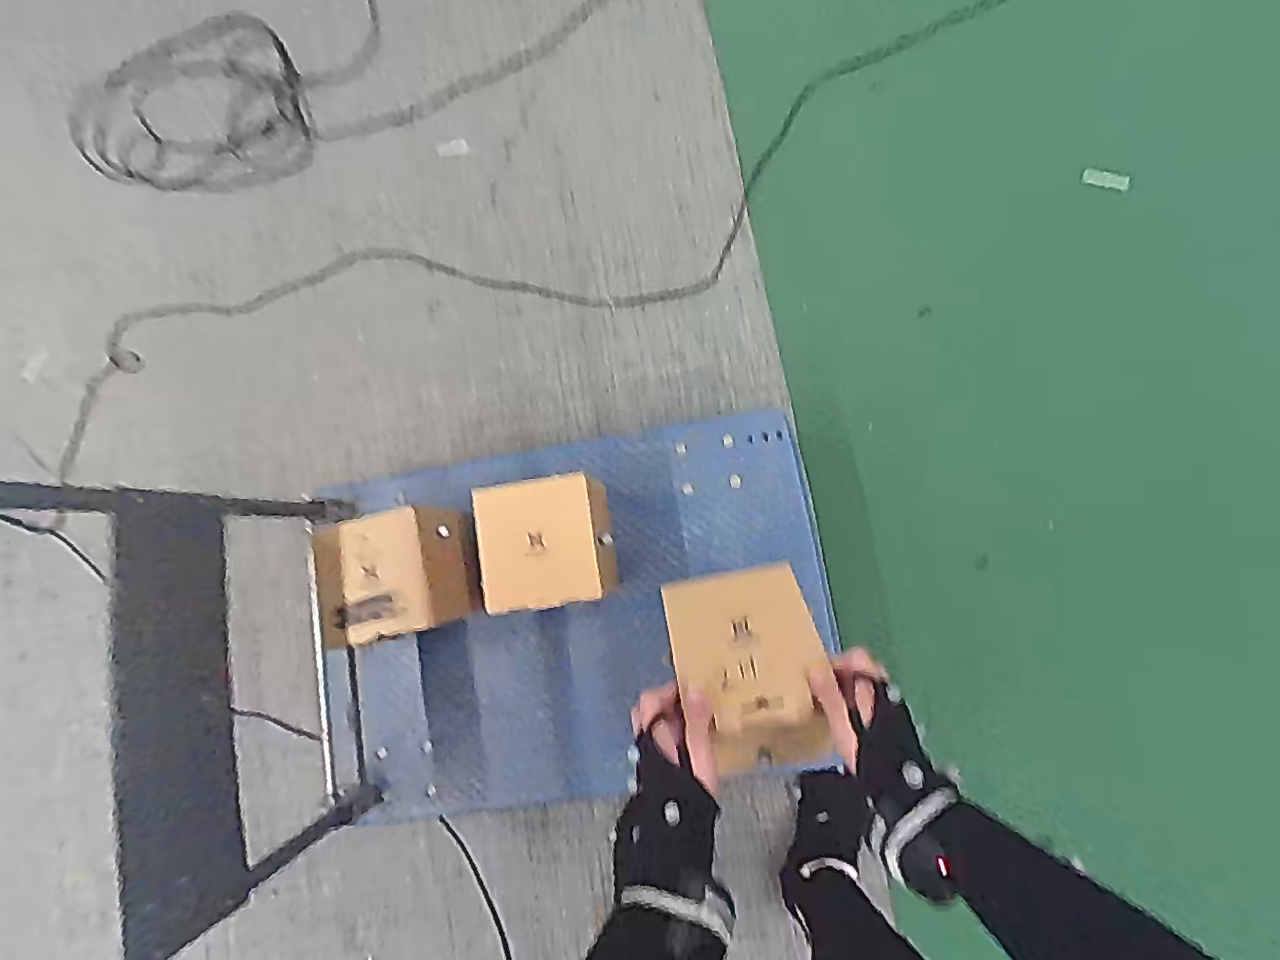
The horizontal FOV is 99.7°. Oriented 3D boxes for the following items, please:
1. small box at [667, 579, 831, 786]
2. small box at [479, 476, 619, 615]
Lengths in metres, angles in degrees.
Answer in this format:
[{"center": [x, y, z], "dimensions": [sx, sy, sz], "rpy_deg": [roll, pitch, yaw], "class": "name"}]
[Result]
[{"center": [0.125, 0.246, 0.658], "dimensions": [0.168, 0.176, 0.179], "rpy_deg": [-8, 42, 8], "class": "small box"}, {"center": [-0.132, 0.100, 0.832], "dimensions": [0.168, 0.176, 0.179], "rpy_deg": [-9, 84, 5], "class": "small box"}]
